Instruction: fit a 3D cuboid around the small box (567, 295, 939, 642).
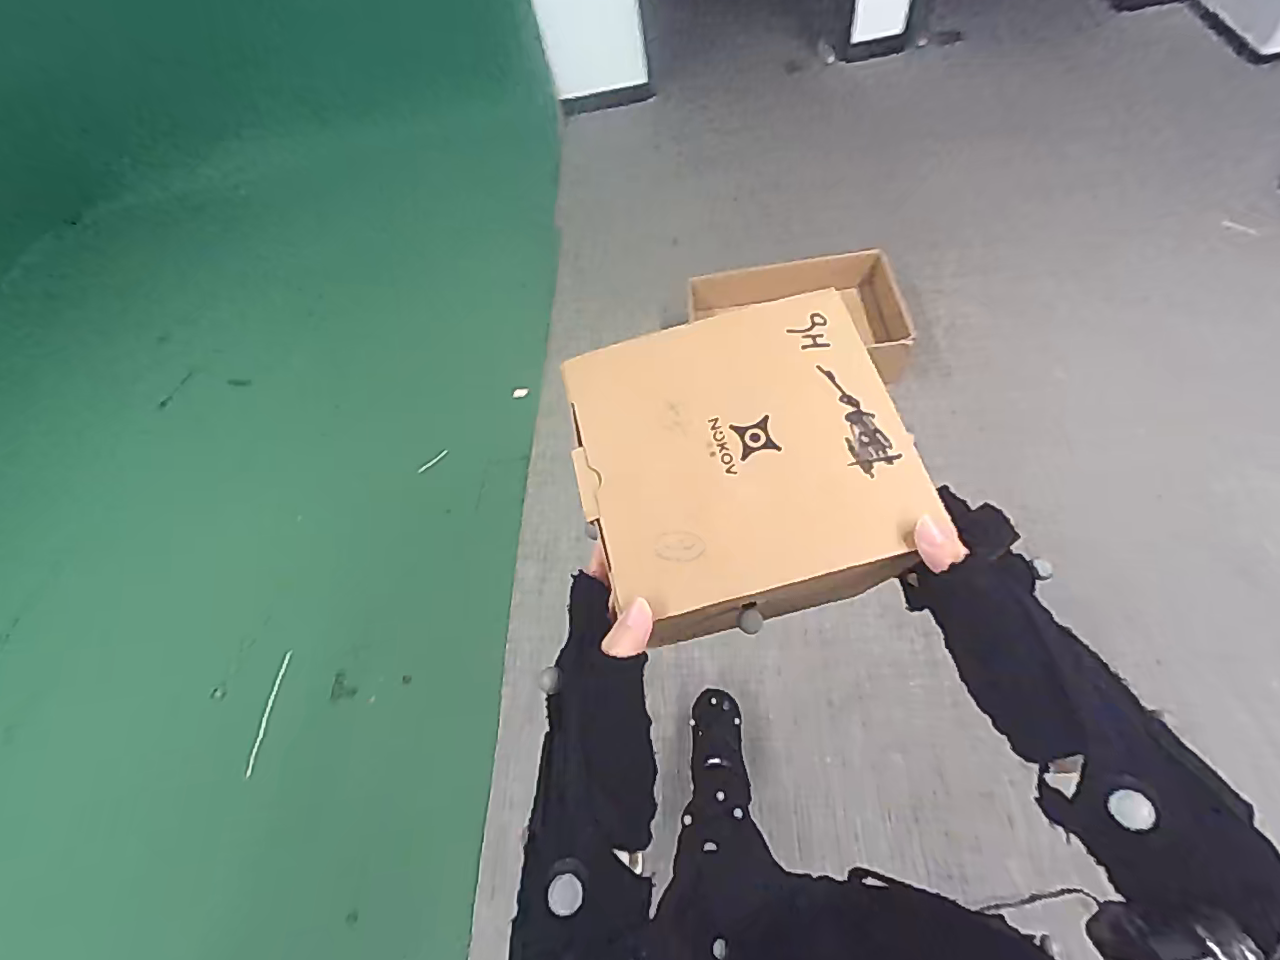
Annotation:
[{"bbox_3d":[0.064,0.007,0.388,0.179,0.176,0.168,-17,66,-2],"label":"small box"}]
